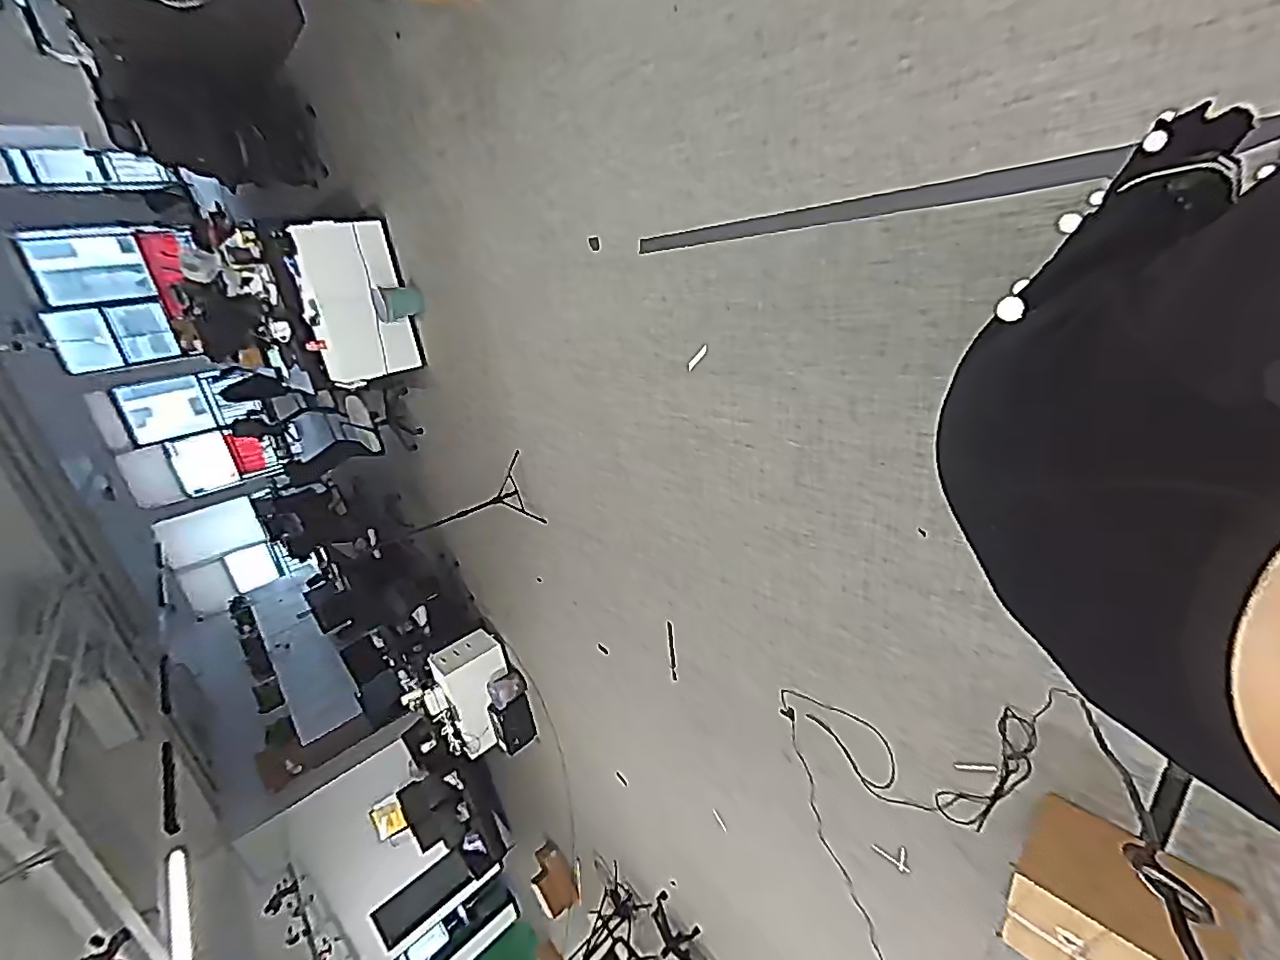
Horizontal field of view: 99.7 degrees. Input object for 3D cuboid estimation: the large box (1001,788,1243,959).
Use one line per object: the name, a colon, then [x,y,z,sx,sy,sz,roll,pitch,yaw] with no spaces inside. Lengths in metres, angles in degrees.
large box: [1.249,1.131,1.424,0.408,0.320,0.320,18,124,46]
